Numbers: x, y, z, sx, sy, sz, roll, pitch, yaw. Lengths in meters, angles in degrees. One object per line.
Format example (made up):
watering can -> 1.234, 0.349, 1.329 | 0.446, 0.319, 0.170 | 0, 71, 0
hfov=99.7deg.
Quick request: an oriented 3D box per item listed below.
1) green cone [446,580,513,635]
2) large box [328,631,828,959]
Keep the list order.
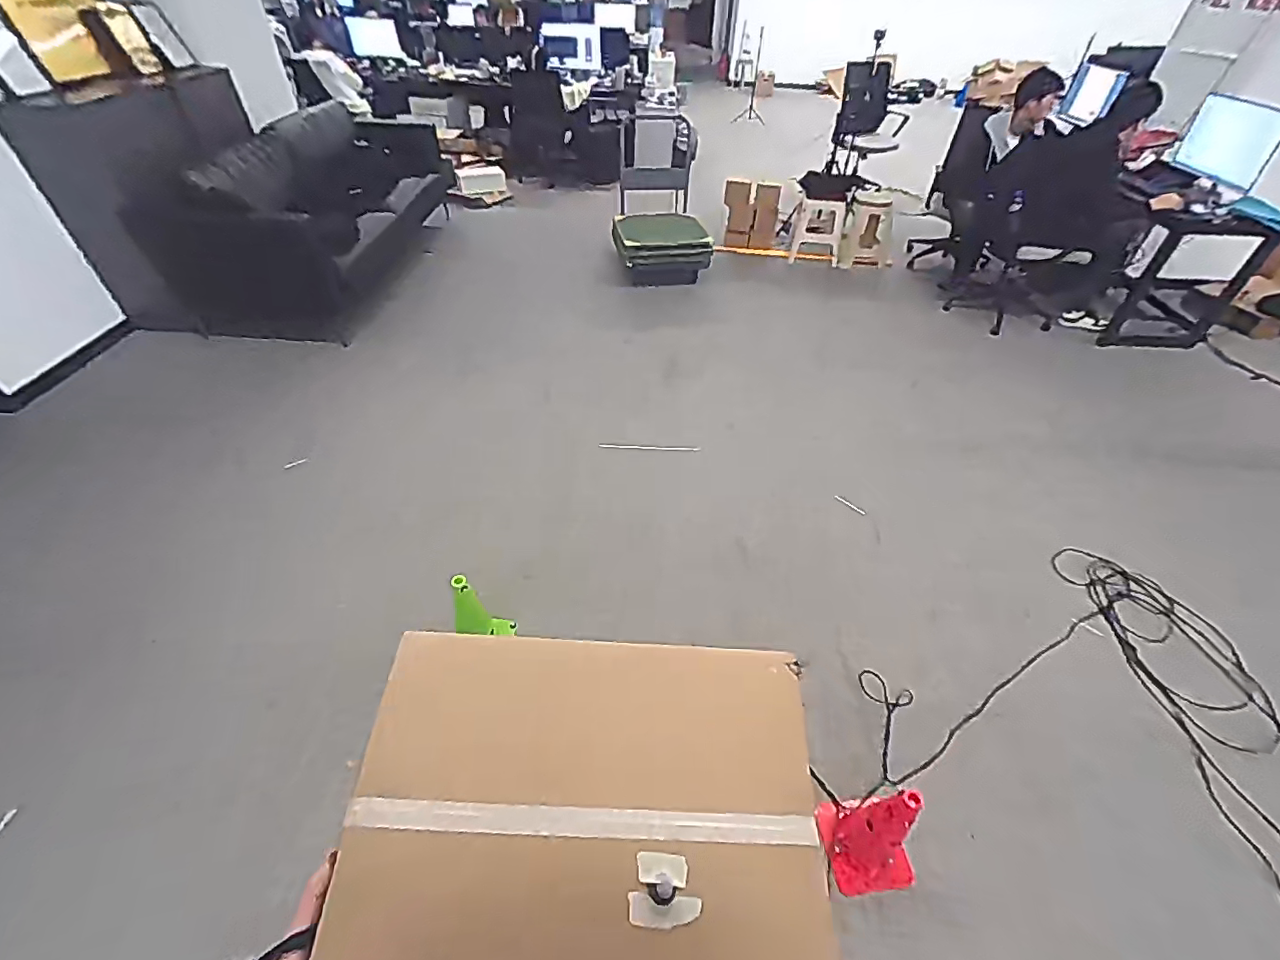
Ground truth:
green cone -> -0.532, 0.419, 1.646 | 0.200, 0.368, 0.202 | 7, 45, 5
large box -> -0.054, 0.379, 0.608 | 0.408, 0.320, 0.320 | 4, 56, -2
